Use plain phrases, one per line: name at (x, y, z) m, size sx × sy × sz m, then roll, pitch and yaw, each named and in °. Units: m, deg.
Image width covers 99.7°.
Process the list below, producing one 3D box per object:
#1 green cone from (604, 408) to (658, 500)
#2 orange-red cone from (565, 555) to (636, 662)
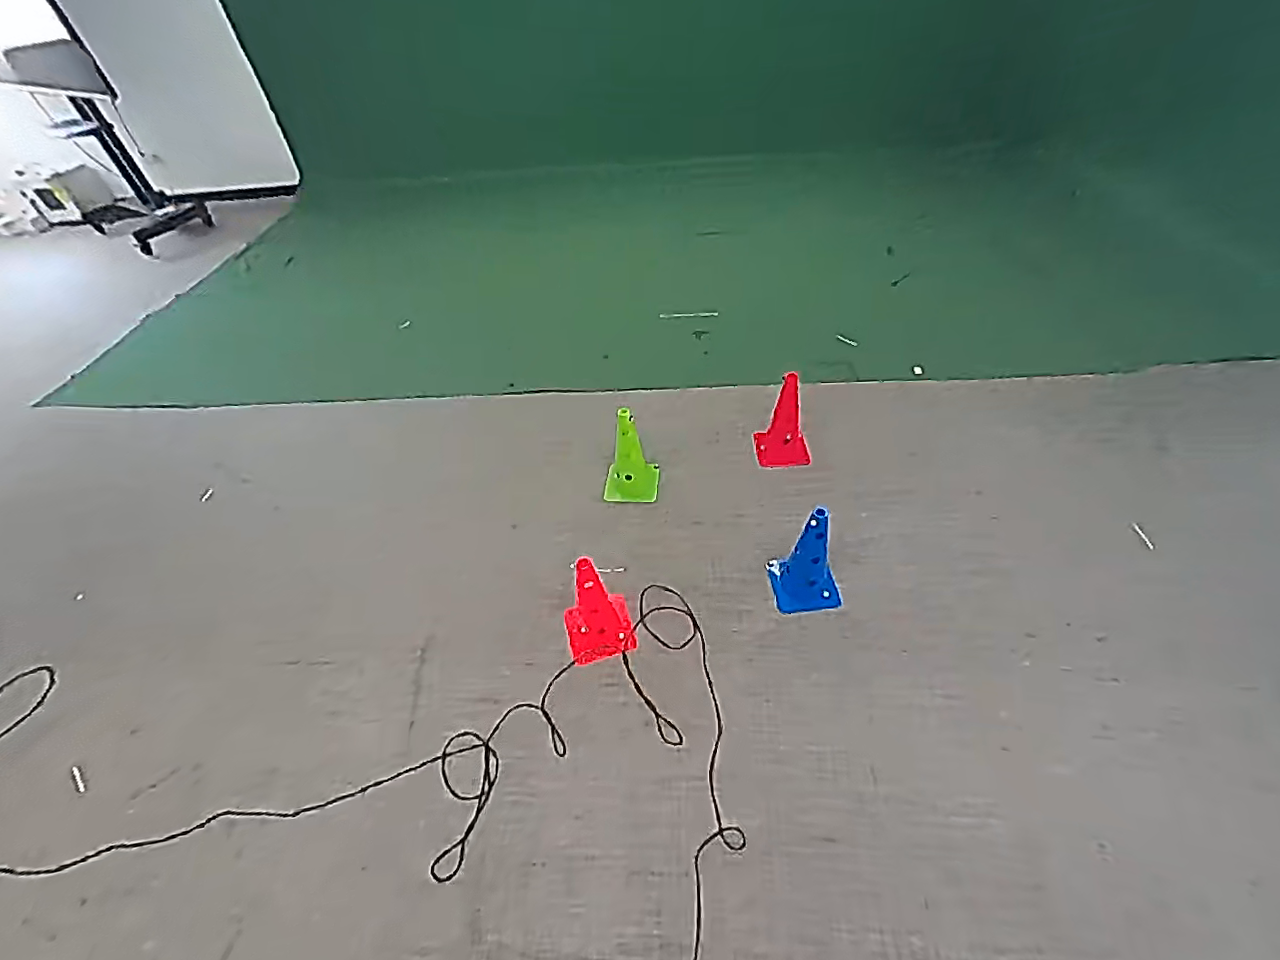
green cone at (-0.048, -0.115, 1.968) m, size 0.200 × 0.368 × 0.202 m, roll 0°, pitch 47°, yaw 7°
orange-red cone at (-0.135, 0.335, 1.548) m, size 0.198 × 0.360 × 0.199 m, roll -14°, pitch 45°, yaw -9°
